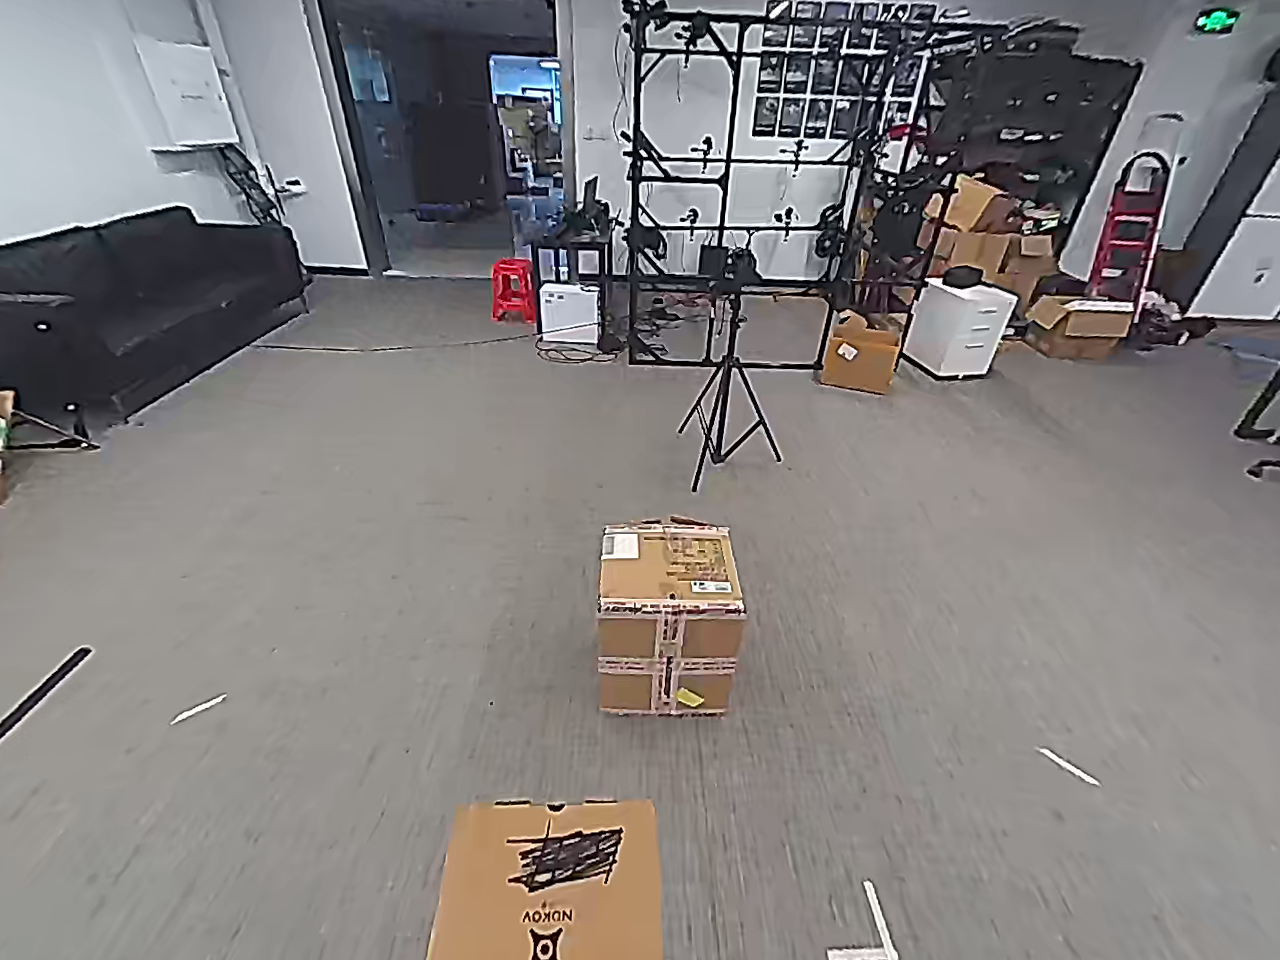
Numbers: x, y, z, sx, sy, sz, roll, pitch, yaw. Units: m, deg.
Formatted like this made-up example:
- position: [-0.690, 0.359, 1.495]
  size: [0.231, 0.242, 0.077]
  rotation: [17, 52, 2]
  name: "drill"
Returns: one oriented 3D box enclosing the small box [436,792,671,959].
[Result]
- position: [-0.066, 0.383, 0.442]
  size: [0.168, 0.176, 0.179]
  rotation: [1, 40, -4]
  name: "small box"
